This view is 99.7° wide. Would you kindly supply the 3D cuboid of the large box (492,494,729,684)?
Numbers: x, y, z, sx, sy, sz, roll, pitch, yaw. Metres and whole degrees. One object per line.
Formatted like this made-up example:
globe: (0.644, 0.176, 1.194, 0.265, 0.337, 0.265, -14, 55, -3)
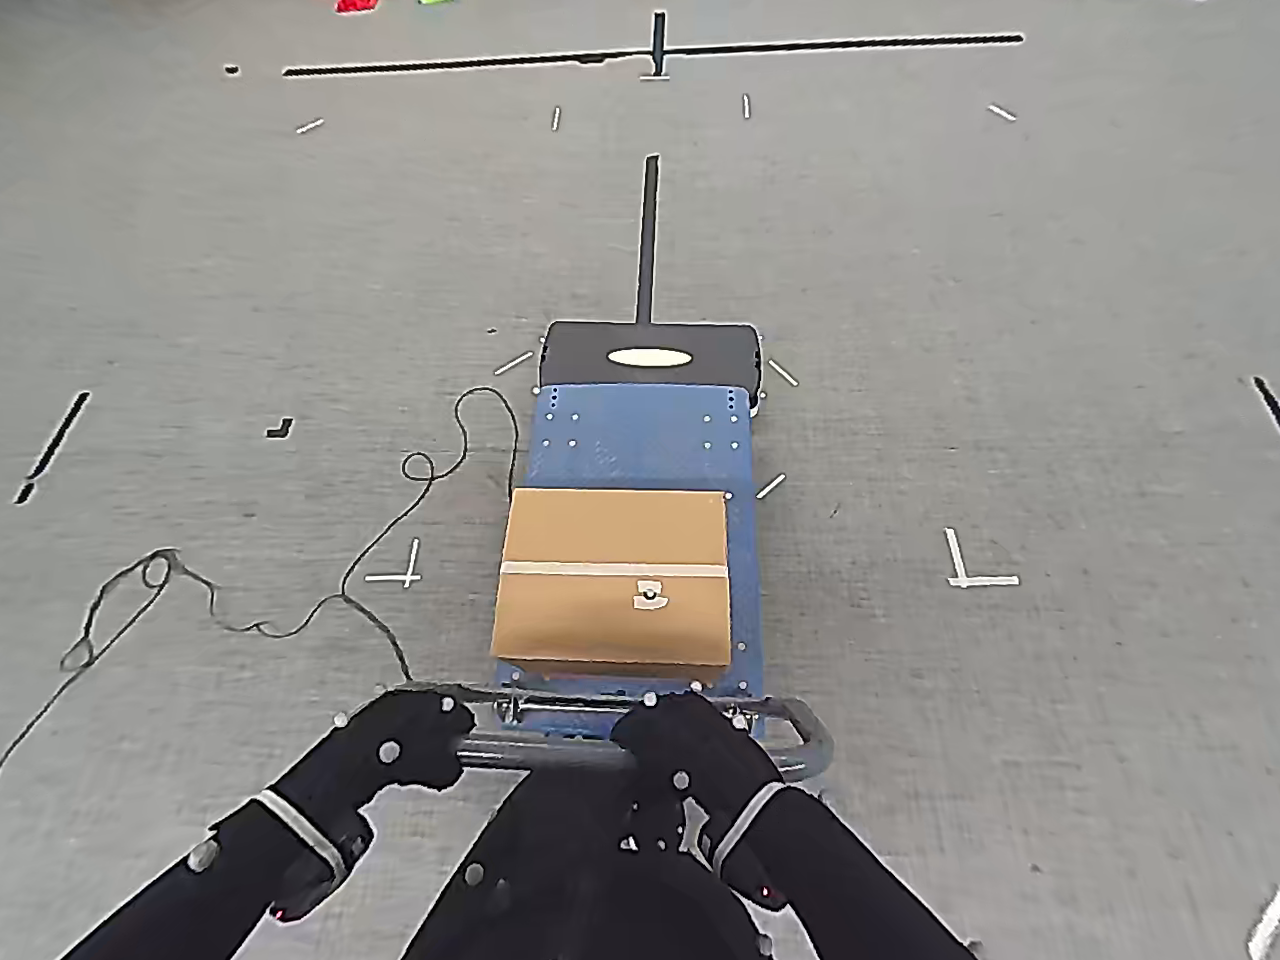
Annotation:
large box: (-0.045, 0.231, 1.089, 0.408, 0.320, 0.320, 1, 65, 2)
